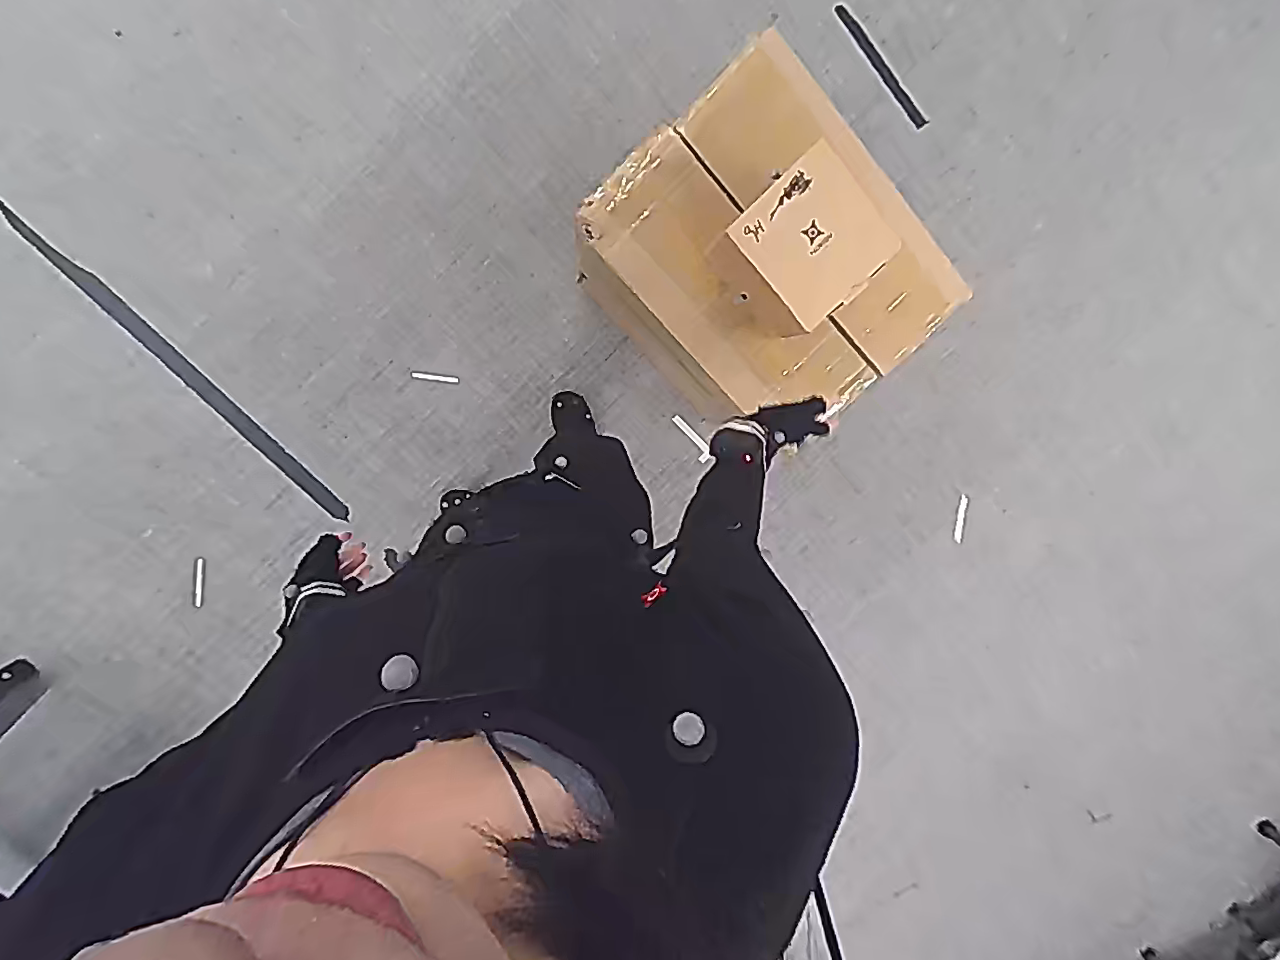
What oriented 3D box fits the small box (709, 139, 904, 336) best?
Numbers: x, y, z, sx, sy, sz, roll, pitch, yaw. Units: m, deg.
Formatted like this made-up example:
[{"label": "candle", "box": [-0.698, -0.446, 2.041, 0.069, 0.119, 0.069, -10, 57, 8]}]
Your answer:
[{"label": "small box", "box": [0.223, -0.325, 0.766, 0.168, 0.176, 0.179, -43, 102, 6]}]
